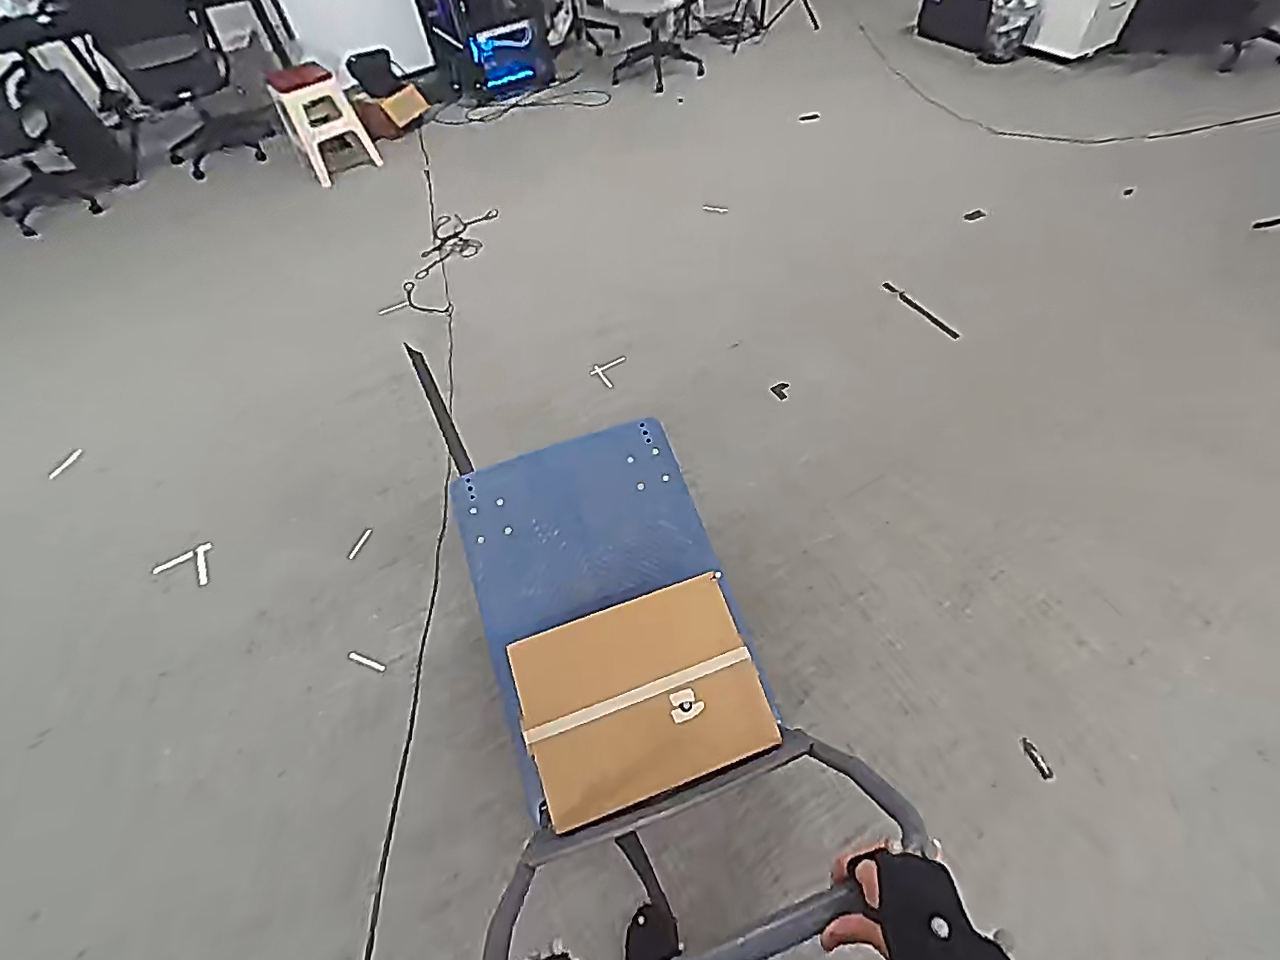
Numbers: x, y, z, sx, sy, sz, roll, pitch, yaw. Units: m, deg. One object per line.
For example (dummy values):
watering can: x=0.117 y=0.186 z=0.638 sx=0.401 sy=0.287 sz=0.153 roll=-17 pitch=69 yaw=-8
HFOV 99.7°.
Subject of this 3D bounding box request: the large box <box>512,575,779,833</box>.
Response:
large box: x=0.001 y=0.435 z=1.093 sx=0.408 sy=0.320 sz=0.320 roll=-19 pitch=70 yaw=-9
